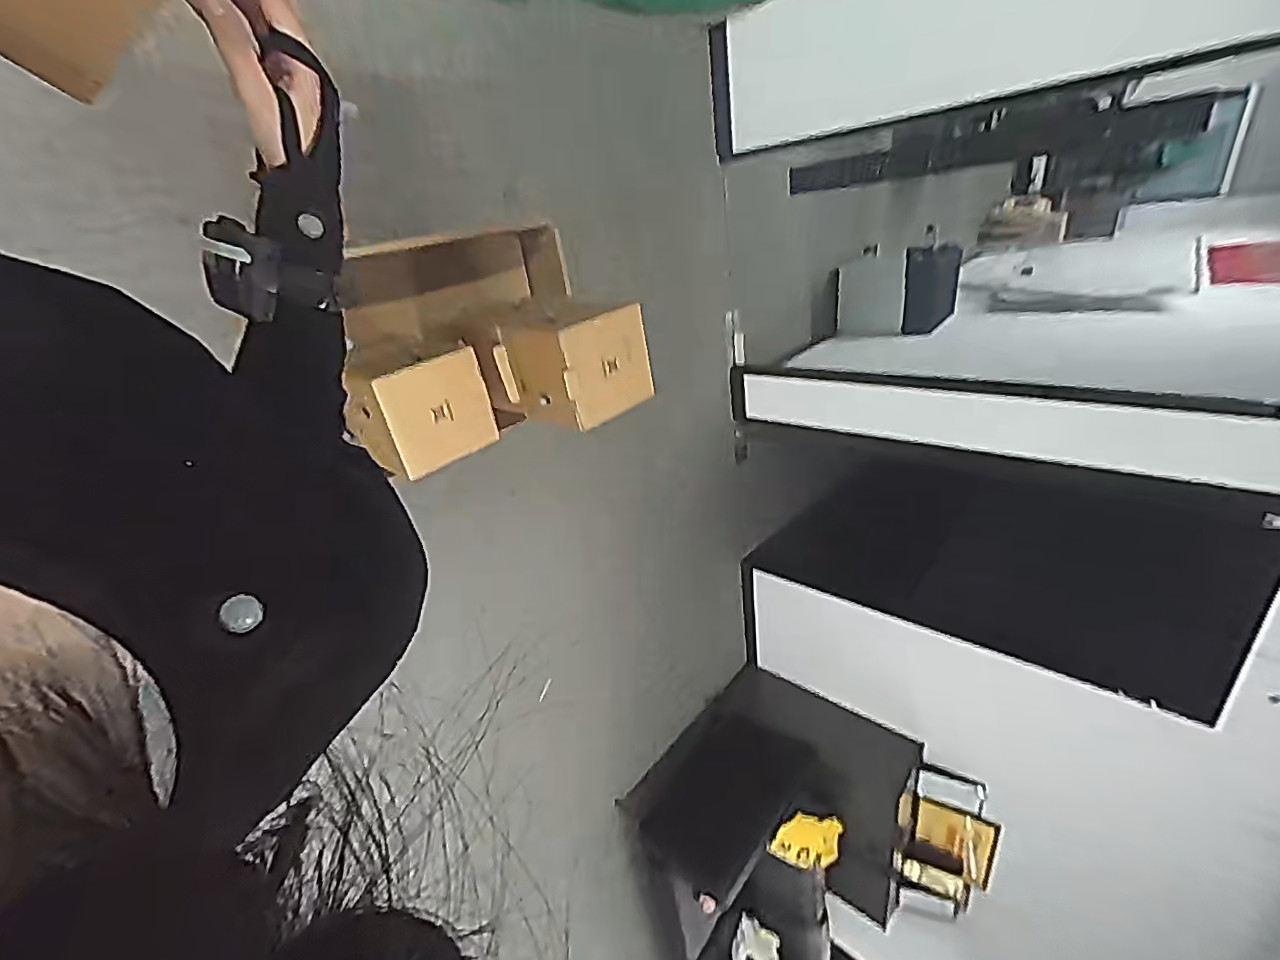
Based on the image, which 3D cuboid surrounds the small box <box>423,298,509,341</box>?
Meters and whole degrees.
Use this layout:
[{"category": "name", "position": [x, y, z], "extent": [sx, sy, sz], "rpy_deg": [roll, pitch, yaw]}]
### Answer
[{"category": "small box", "position": [-0.341, -0.287, 1.160], "extent": [0.179, 0.176, 0.168], "rpy_deg": [-33, 126, -34]}]

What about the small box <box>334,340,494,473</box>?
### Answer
[{"category": "small box", "position": [-0.382, -0.132, 0.908], "extent": [0.179, 0.176, 0.168], "rpy_deg": [-34, 126, -38]}]

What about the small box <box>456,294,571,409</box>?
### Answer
[{"category": "small box", "position": [-0.231, -0.253, 1.044], "extent": [0.179, 0.176, 0.168], "rpy_deg": [-36, 127, -34]}]

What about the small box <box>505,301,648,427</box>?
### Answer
[{"category": "small box", "position": [-0.114, -0.209, 0.938], "extent": [0.179, 0.176, 0.168], "rpy_deg": [-32, 126, -36]}]
